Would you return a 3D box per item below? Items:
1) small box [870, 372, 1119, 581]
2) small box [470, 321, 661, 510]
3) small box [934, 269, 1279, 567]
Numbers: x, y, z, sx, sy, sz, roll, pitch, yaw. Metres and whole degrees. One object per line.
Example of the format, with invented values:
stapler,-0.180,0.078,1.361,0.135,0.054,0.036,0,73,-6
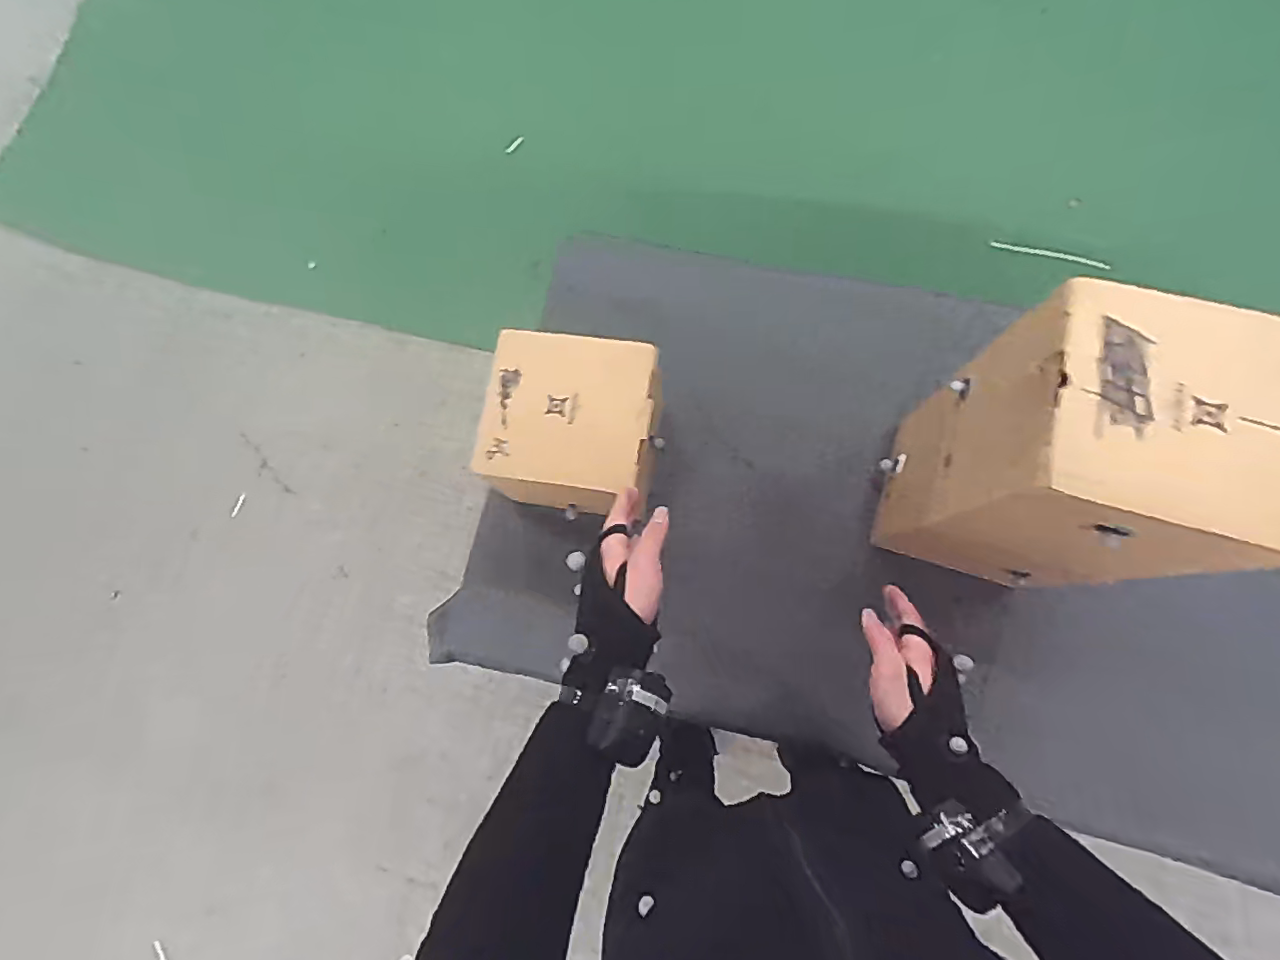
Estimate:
small box,0.382,0.008,0.594,0.179,0.176,0.168,17,78,9
small box,-0.073,-0.064,0.641,0.179,0.176,0.168,9,78,5
small box,0.370,-0.033,0.435,0.179,0.176,0.168,17,79,6
